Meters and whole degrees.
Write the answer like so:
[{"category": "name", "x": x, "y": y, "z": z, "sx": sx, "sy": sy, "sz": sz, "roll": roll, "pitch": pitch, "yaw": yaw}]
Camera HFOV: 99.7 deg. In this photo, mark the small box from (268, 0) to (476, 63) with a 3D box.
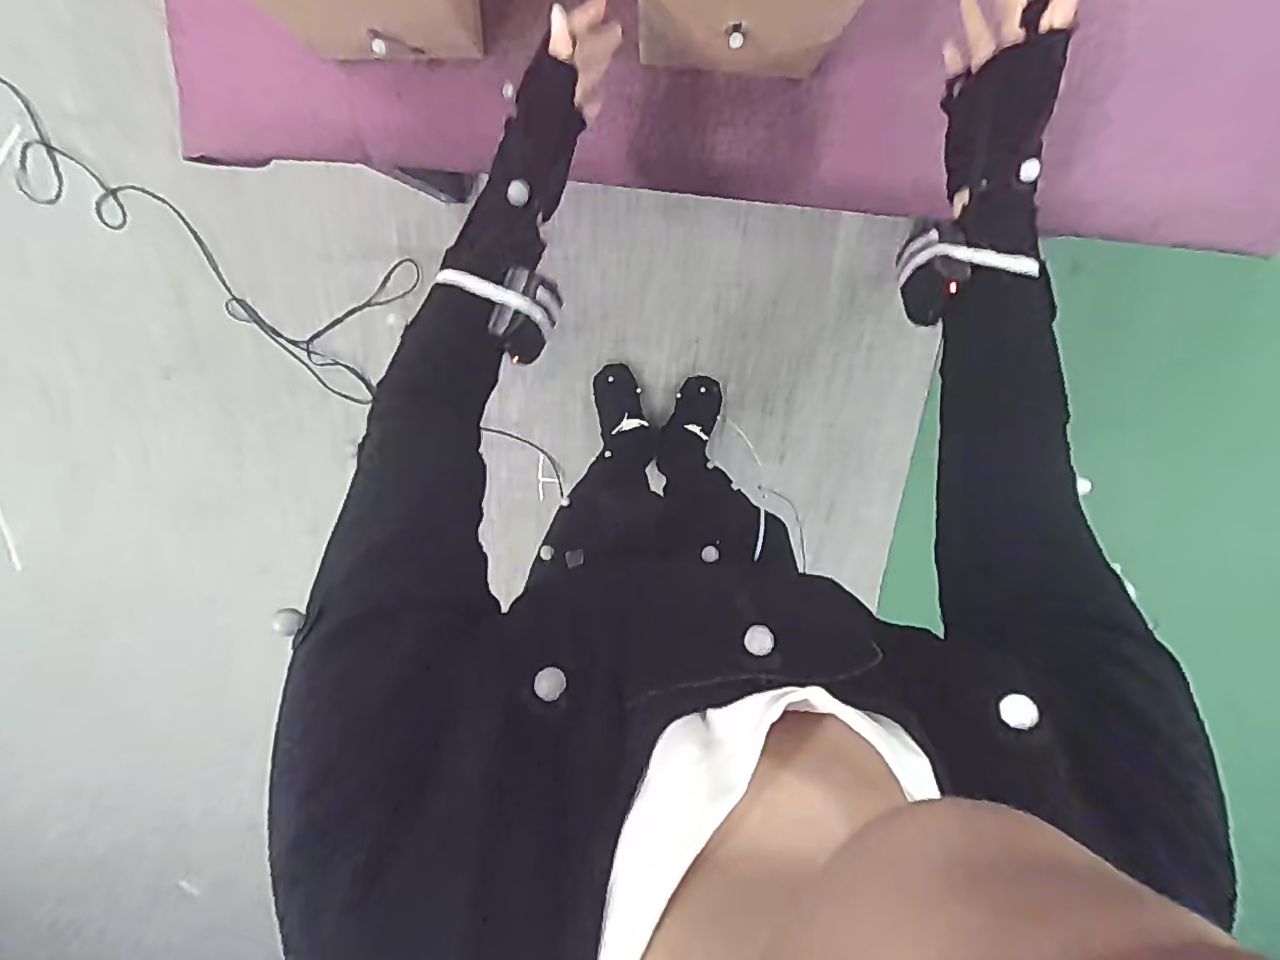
[{"category": "small box", "x": -0.245, "y": -0.490, "z": 0.453, "sx": 0.168, "sy": 0.176, "sz": 0.179, "roll": 0, "pitch": 109, "yaw": -1}]
